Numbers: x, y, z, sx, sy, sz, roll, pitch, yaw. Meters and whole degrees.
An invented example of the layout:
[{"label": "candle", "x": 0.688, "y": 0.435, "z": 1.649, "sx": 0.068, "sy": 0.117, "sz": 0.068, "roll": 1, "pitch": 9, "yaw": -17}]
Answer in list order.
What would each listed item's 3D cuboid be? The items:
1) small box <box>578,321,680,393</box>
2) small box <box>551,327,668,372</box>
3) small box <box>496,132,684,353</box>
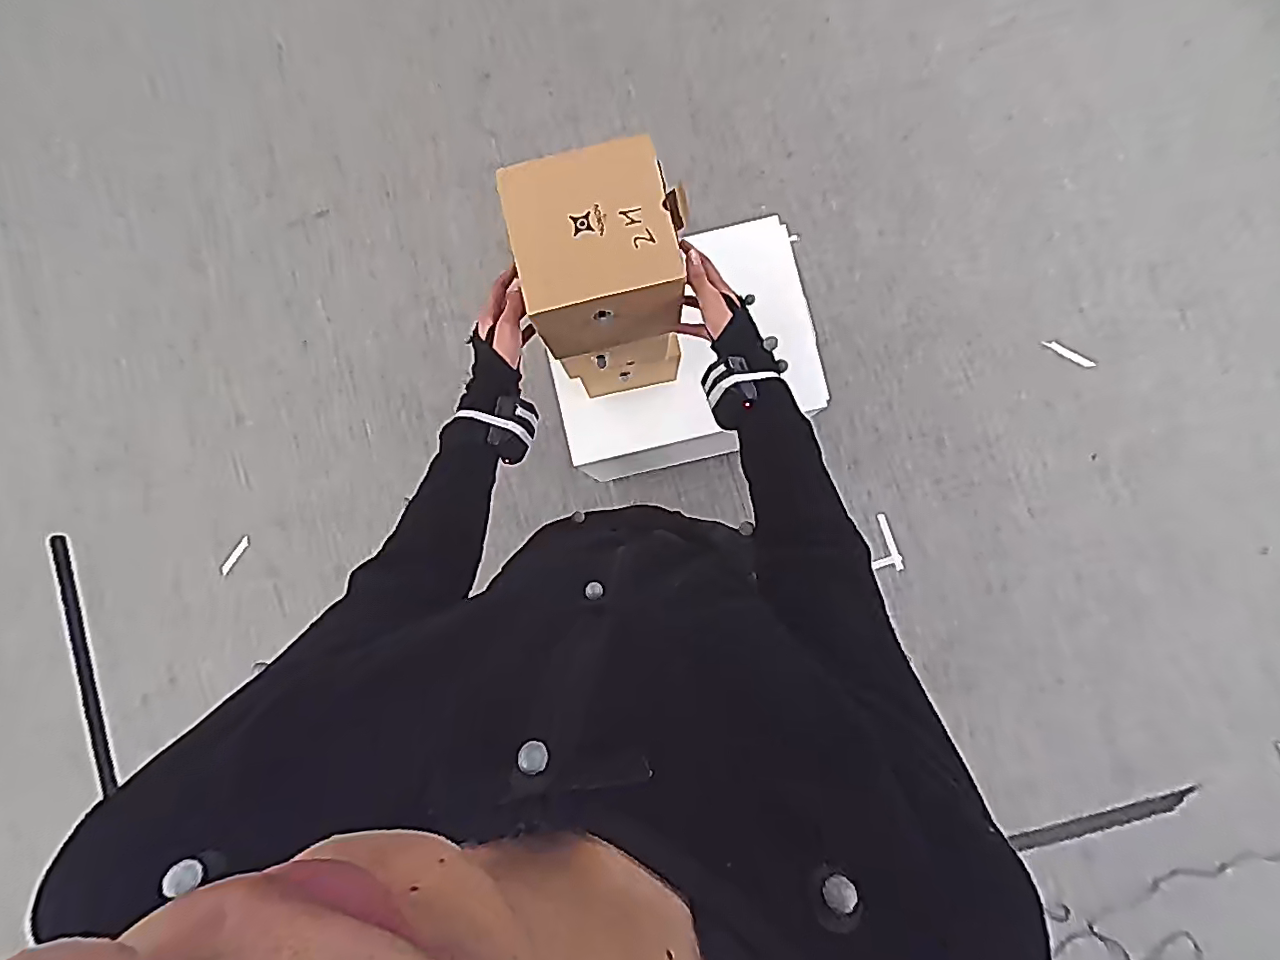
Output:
[{"label": "small box", "x": -0.032, "y": -0.265, "z": 0.977, "sx": 0.179, "sy": 0.176, "sz": 0.168, "roll": -12, "pitch": 87, "yaw": -1}, {"label": "small box", "x": -0.052, "y": -0.271, "z": 0.815, "sx": 0.168, "sy": 0.176, "sz": 0.179, "roll": -10, "pitch": 86, "yaw": 0}, {"label": "small box", "x": -0.052, "y": -0.267, "z": 0.650, "sx": 0.179, "sy": 0.176, "sz": 0.168, "roll": -13, "pitch": 87, "yaw": 0}]
